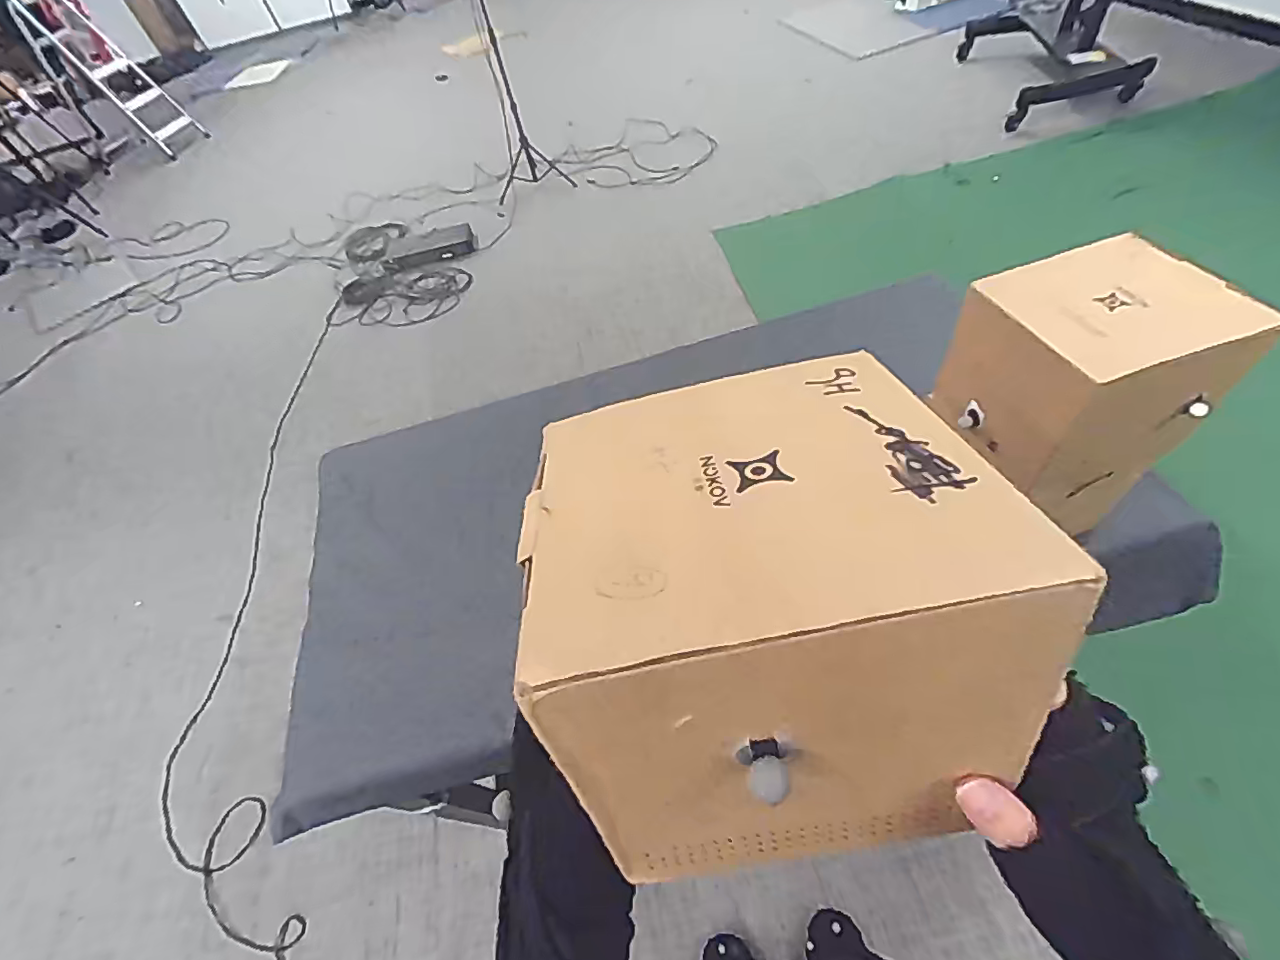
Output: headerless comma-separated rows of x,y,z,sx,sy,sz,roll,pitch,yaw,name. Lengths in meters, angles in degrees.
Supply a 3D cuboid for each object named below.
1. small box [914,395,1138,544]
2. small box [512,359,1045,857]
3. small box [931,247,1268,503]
0.468,-0.015,0.697,0.168,0.176,0.179,-20,51,-3,small box
0.055,0.063,0.279,0.179,0.176,0.168,-13,35,4,small box
0.443,-0.105,0.564,0.179,0.176,0.168,-19,50,-1,small box
